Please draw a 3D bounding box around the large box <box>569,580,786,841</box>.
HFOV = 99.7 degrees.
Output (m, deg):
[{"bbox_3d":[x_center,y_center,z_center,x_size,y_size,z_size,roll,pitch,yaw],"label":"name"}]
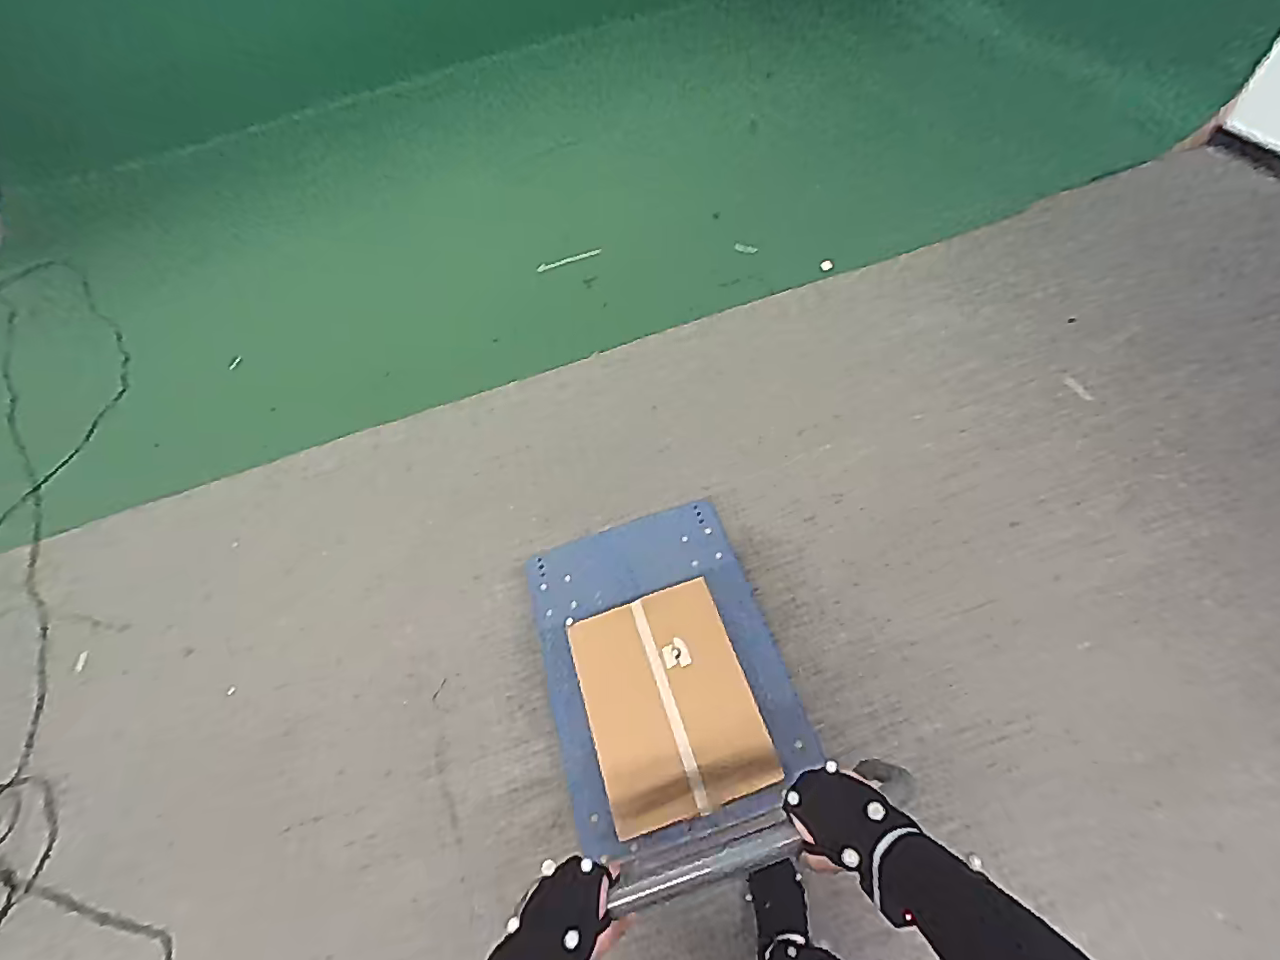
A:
[{"bbox_3d":[0.076,0.497,1.169,0.320,0.320,0.408,-20,56,-4],"label":"large box"}]
